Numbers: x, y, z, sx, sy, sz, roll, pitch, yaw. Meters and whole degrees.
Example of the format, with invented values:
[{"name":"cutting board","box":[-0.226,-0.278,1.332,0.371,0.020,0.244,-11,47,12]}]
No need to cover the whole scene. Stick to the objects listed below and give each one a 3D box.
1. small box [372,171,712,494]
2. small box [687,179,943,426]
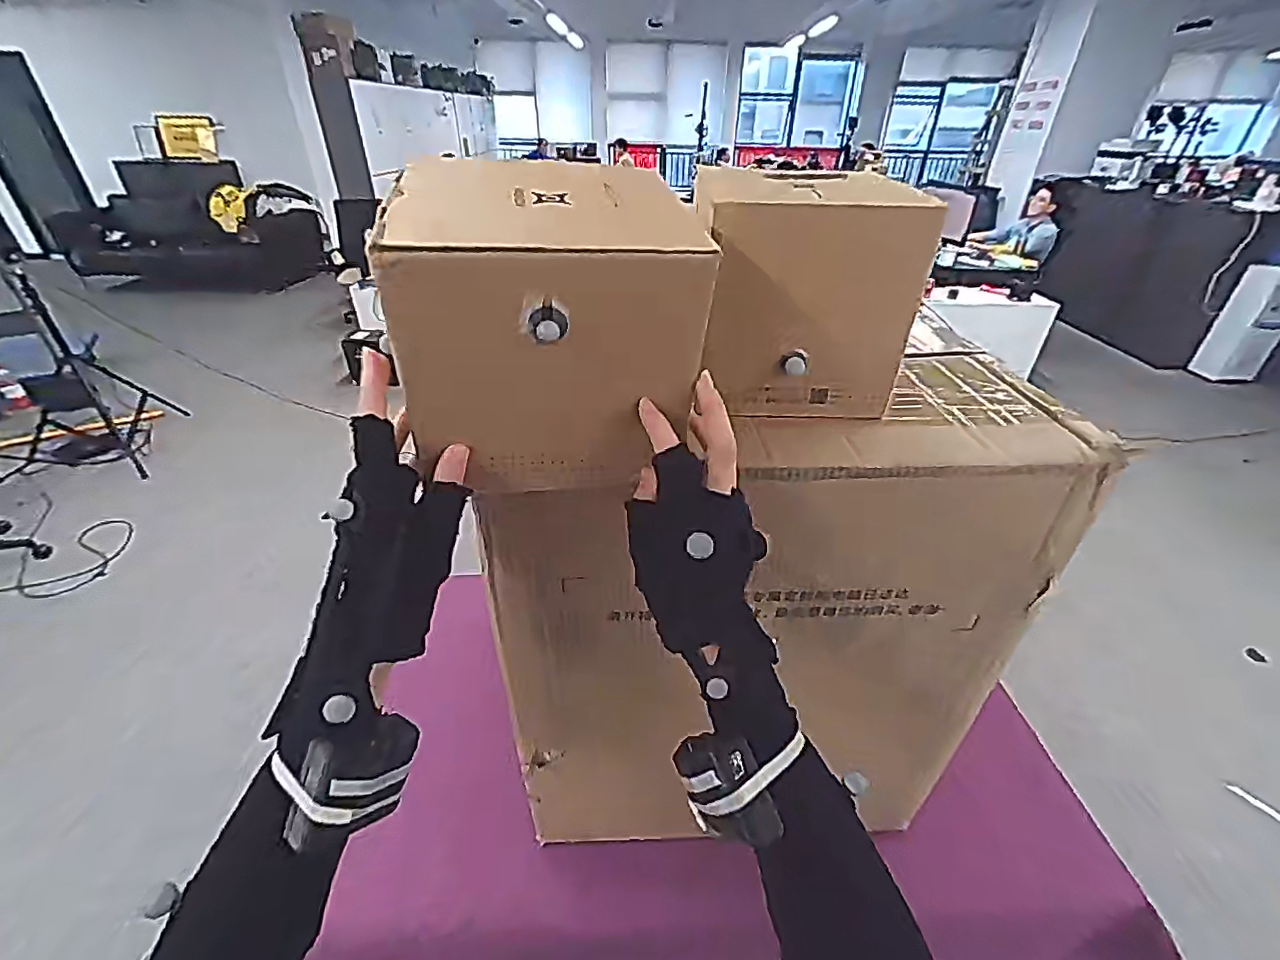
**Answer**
[{"name":"small box","box":[-0.066,-0.103,0.384,0.179,0.176,0.168,-3,42,-12]},{"name":"small box","box":[0.128,-0.164,0.486,0.168,0.176,0.179,1,35,1]}]
